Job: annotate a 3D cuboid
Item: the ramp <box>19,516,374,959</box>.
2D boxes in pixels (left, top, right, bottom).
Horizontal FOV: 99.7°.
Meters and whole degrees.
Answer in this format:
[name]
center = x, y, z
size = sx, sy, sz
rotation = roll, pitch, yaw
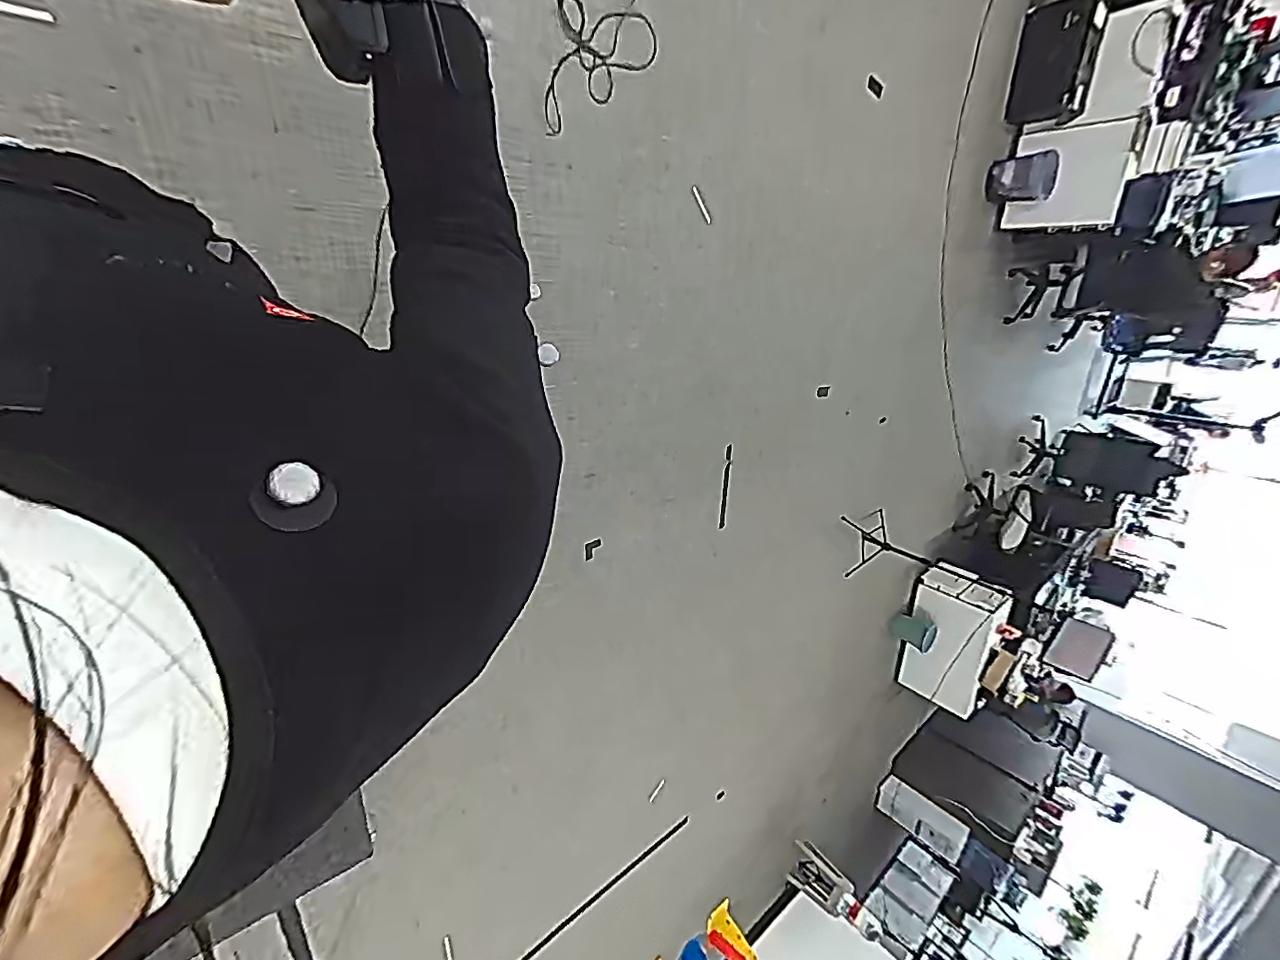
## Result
[ramp]
center = -0.979, 0.615, 1.284
size = 0.509, 0.206, 0.991
rotation = -15, 115, -36
